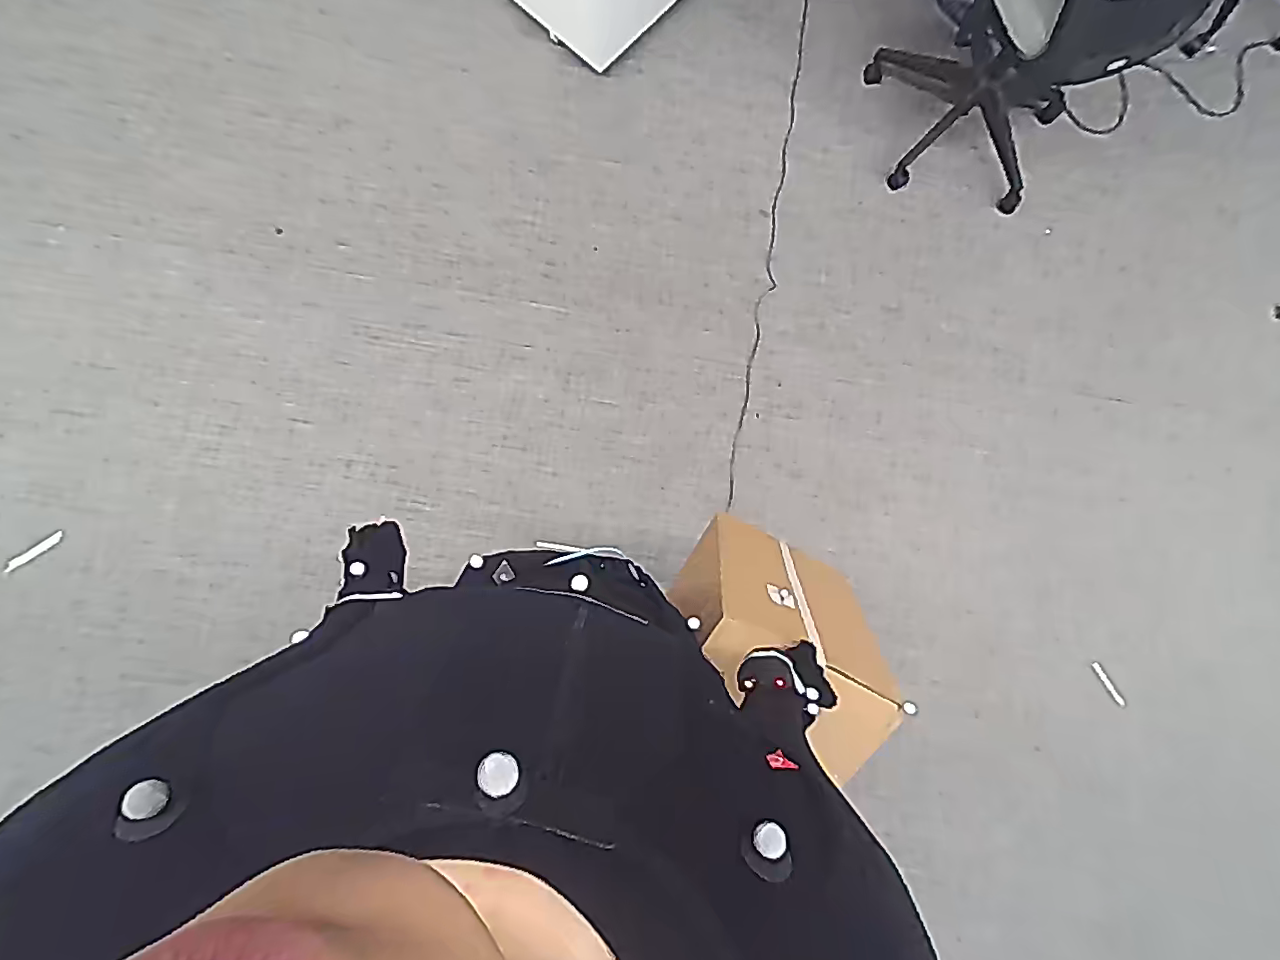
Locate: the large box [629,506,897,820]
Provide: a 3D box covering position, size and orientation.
[{"bbox_3d":[0.202,0.314,1.024,0.320,0.408,0.320,27,111,-3],"label":"large box"}]
